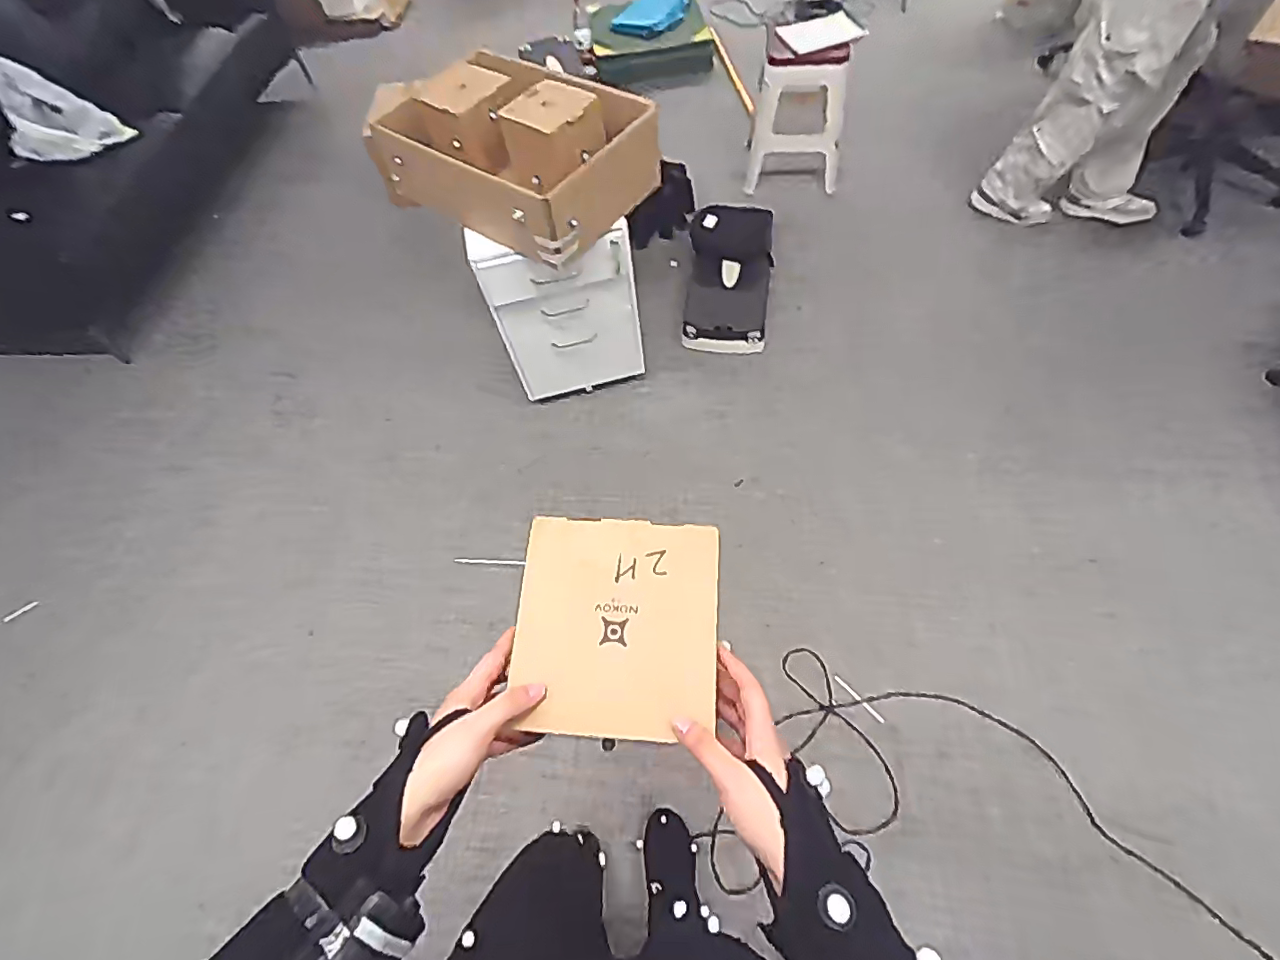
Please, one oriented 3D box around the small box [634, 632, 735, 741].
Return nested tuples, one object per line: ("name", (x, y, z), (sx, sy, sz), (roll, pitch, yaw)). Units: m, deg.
("small box", (0.106, 0.492, 1.275), (0.179, 0.176, 0.168), (-30, 61, -11))
